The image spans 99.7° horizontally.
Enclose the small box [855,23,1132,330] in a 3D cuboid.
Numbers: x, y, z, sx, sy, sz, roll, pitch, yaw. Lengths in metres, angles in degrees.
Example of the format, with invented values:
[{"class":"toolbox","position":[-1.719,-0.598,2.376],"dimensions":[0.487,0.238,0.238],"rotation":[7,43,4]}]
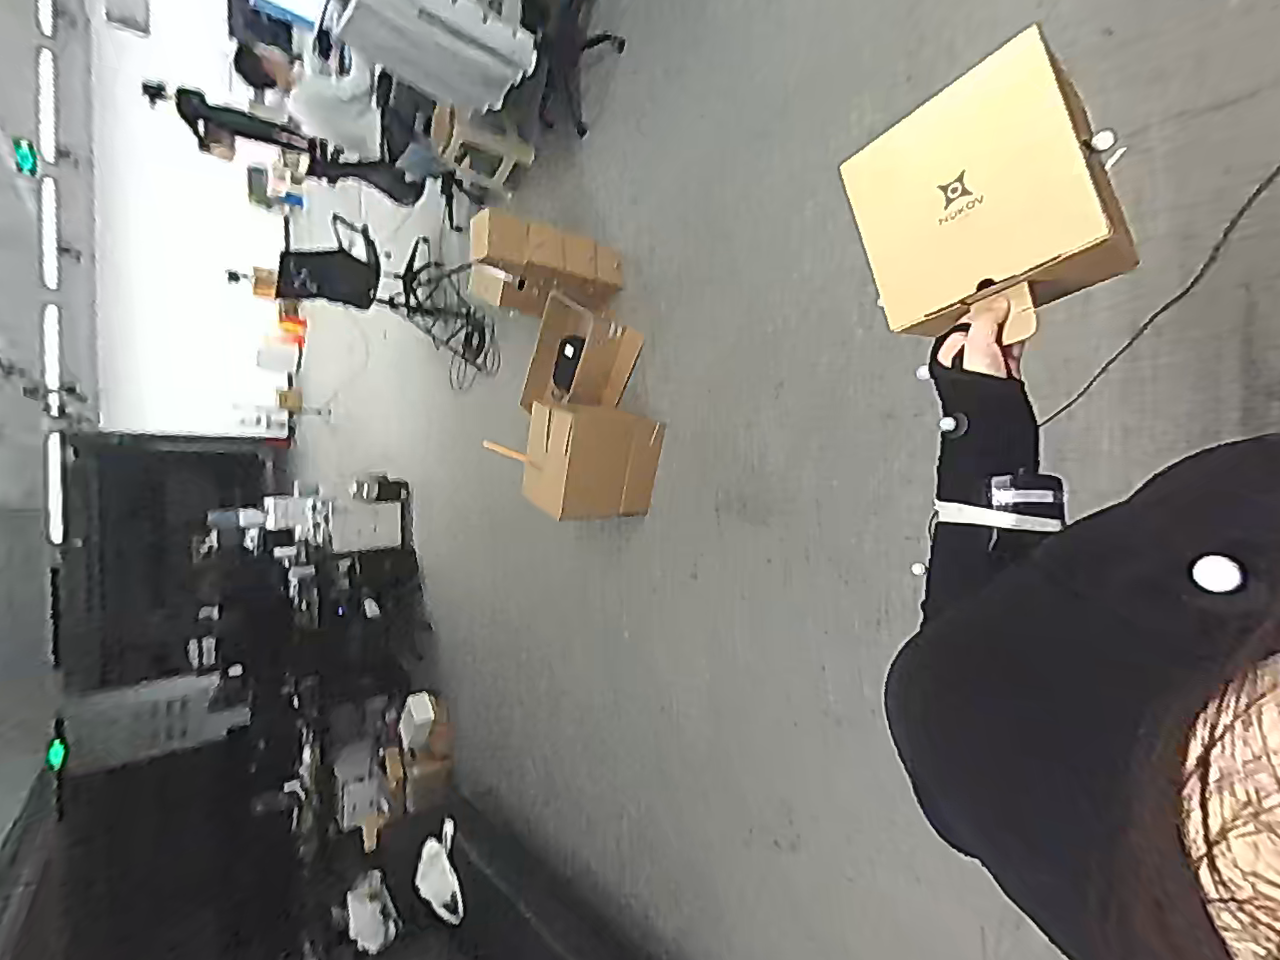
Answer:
[{"class":"small box","position":[0.337,-0.260,0.517],"dimensions":[0.168,0.176,0.179],"rotation":[-17,84,47]}]
